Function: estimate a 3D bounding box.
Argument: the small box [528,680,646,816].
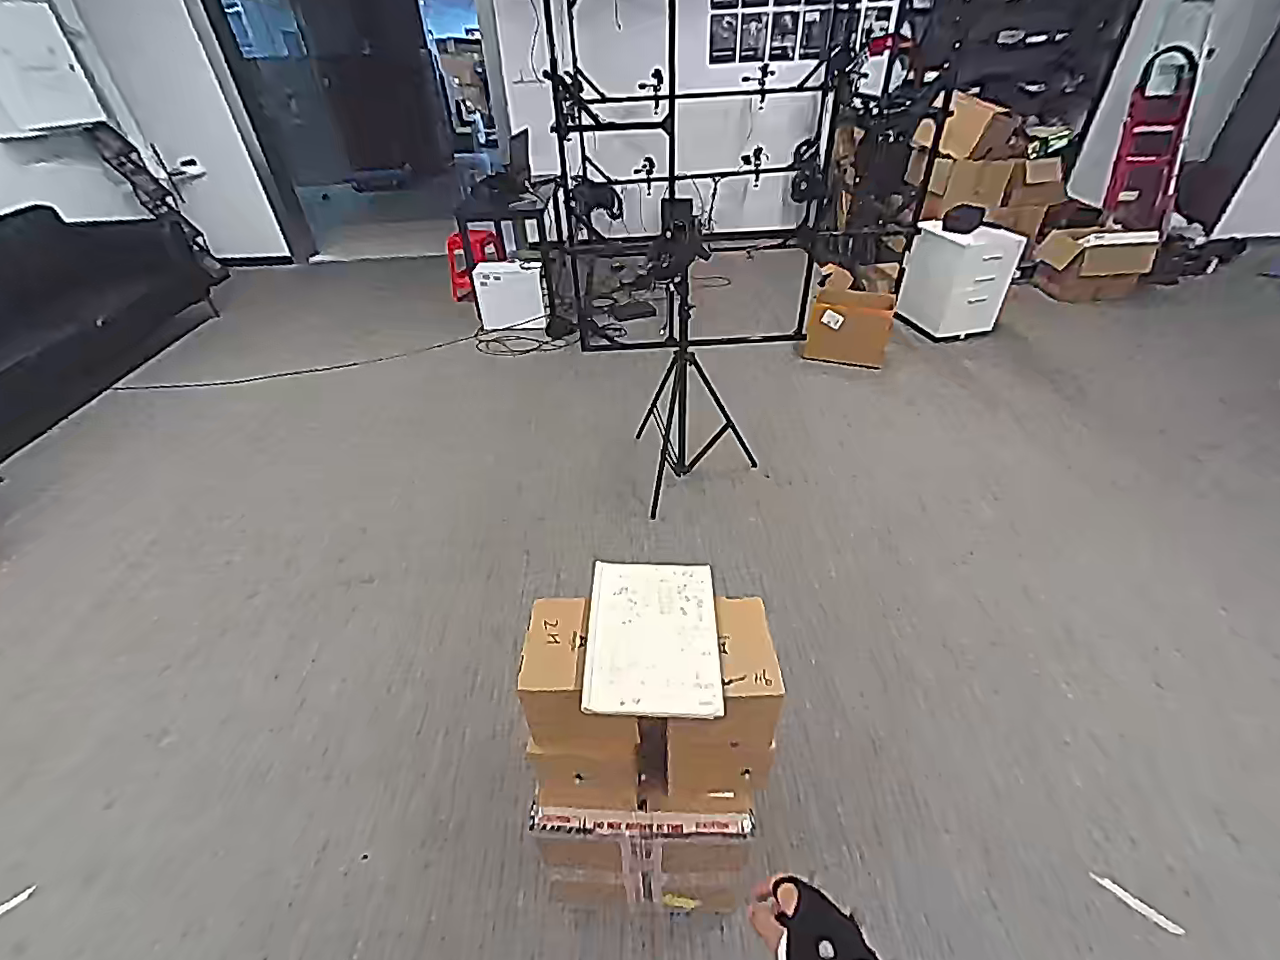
[{"bbox_3d":[-0.083,0.481,0.970,0.179,0.176,0.168,1,40,6],"label":"small box"}]

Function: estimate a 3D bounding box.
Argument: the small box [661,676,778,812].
[{"bbox_3d":[0.132,0.474,0.970,0.179,0.176,0.168,-3,39,-2],"label":"small box"}]
